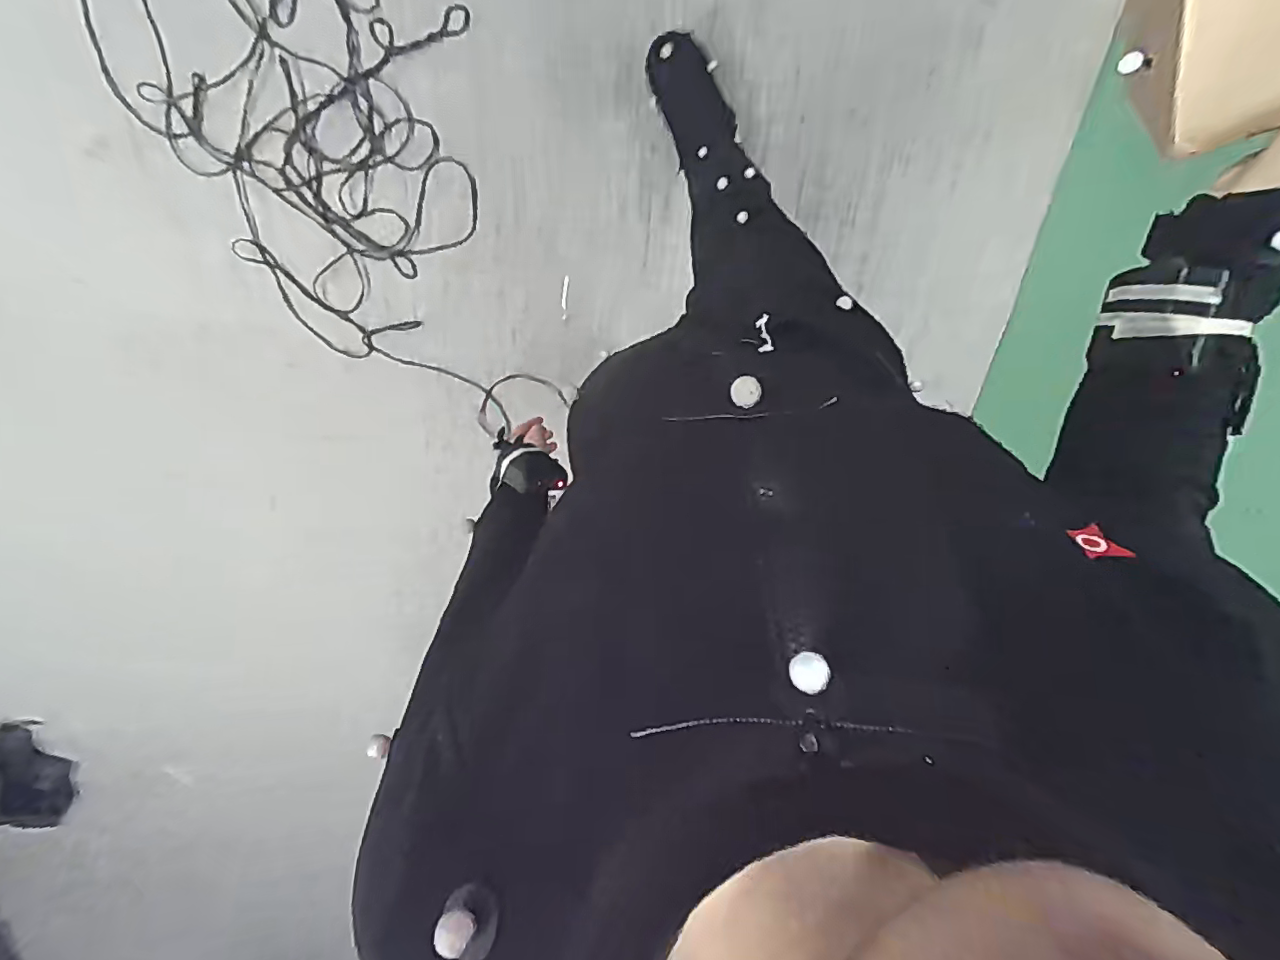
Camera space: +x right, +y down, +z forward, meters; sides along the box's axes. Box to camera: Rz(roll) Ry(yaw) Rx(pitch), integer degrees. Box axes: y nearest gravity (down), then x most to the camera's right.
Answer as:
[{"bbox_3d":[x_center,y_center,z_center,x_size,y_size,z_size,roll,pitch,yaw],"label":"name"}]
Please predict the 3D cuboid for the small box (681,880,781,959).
[{"bbox_3d":[0.173,0.923,1.047,0.168,0.176,0.179,6,113,-2],"label":"small box"}]
